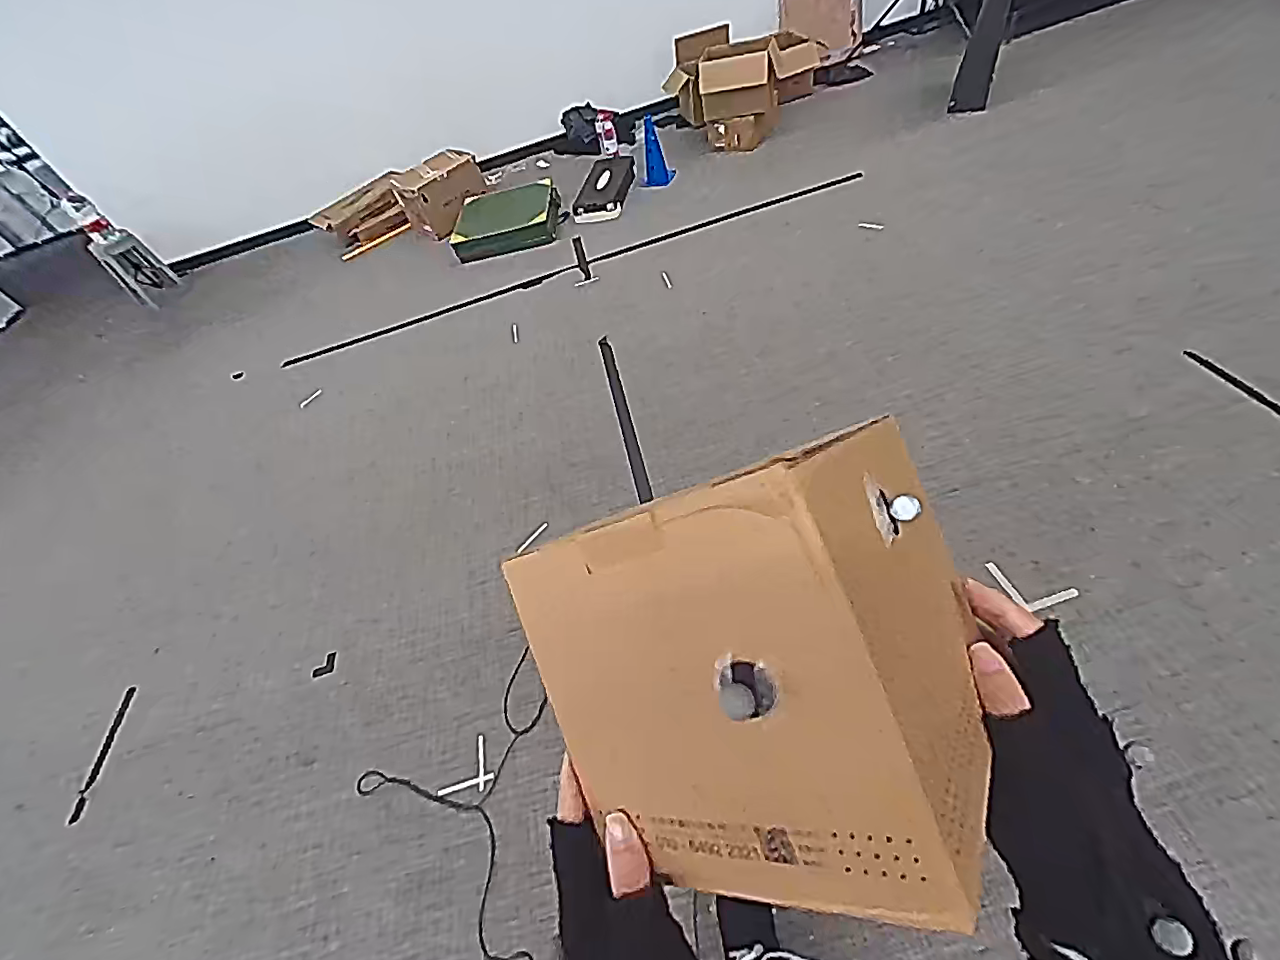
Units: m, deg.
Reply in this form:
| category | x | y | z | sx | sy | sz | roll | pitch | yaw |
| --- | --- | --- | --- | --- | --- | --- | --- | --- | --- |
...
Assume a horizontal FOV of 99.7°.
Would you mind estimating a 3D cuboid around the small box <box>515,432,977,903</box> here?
| category | x | y | z | sx | sy | sz | roll | pitch | yaw |
| --- | --- | --- | --- | --- | --- | --- | --- | --- | --- |
| small box | 0.067 | 0.090 | 0.309 | 0.168 | 0.176 | 0.179 | -23 | -4 | 38 |
